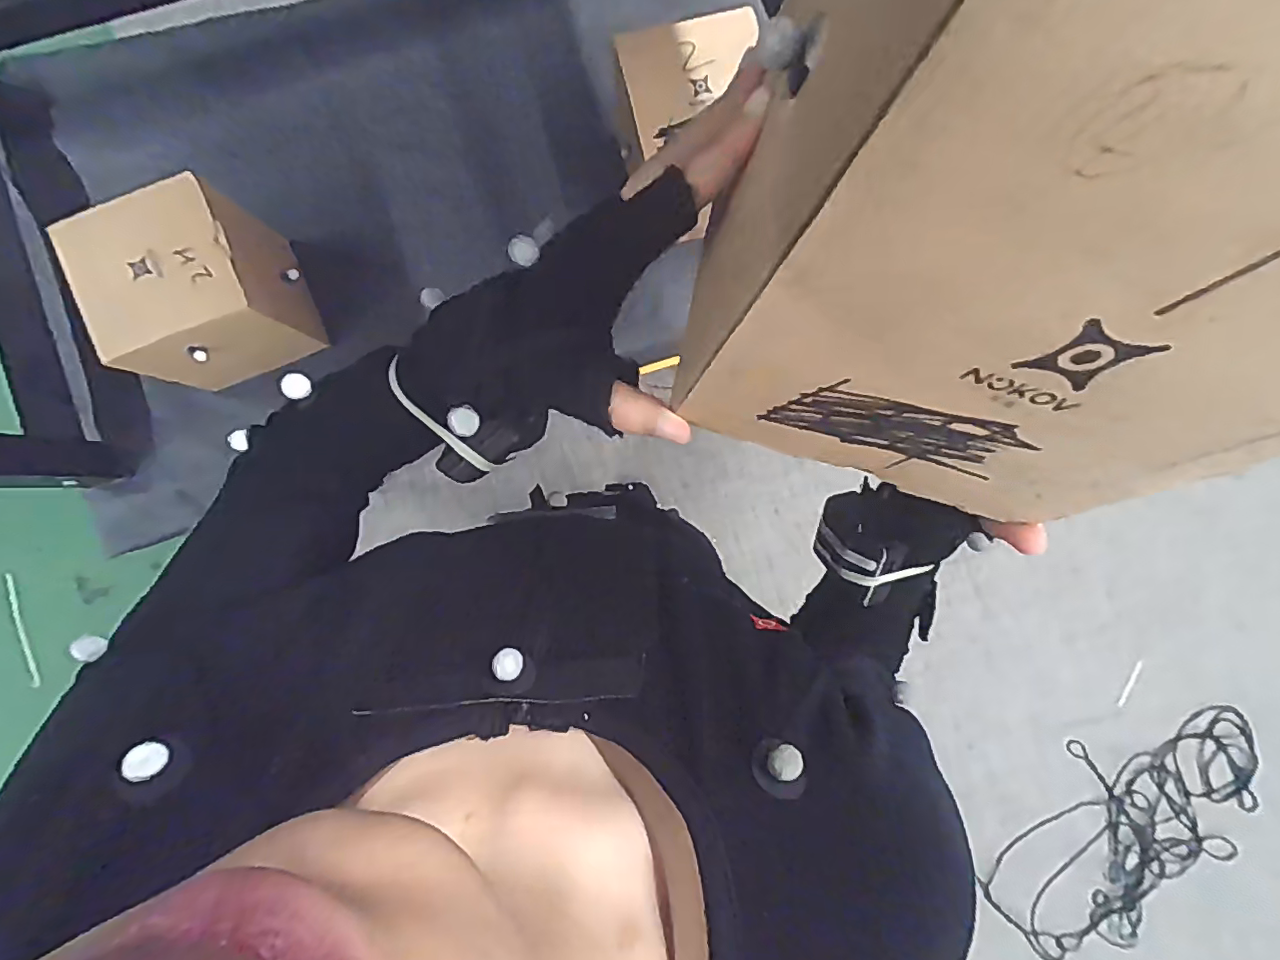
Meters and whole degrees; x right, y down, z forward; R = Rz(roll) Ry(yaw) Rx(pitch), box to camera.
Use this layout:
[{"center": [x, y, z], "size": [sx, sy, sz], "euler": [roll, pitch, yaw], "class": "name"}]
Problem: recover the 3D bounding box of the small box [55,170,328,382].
[{"center": [-0.542, -0.239, 0.680], "size": [0.179, 0.176, 0.168], "euler": [-22, 90, -2], "class": "small box"}]
